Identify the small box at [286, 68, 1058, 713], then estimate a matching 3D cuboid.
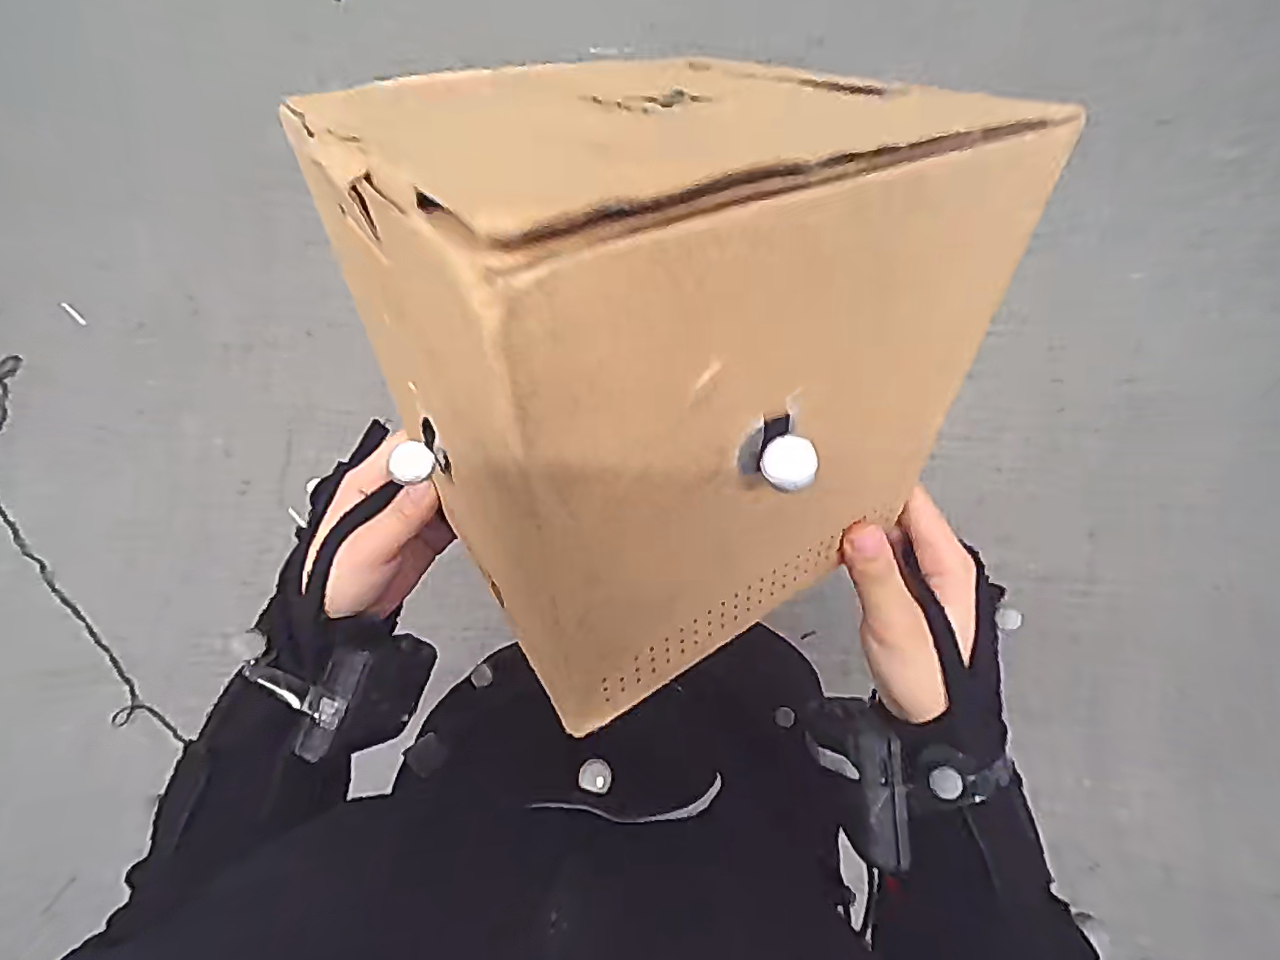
[{"bbox_3d":[0.002,-0.046,0.215,0.179,0.176,0.168,-26,48,-24],"label":"small box"}]
